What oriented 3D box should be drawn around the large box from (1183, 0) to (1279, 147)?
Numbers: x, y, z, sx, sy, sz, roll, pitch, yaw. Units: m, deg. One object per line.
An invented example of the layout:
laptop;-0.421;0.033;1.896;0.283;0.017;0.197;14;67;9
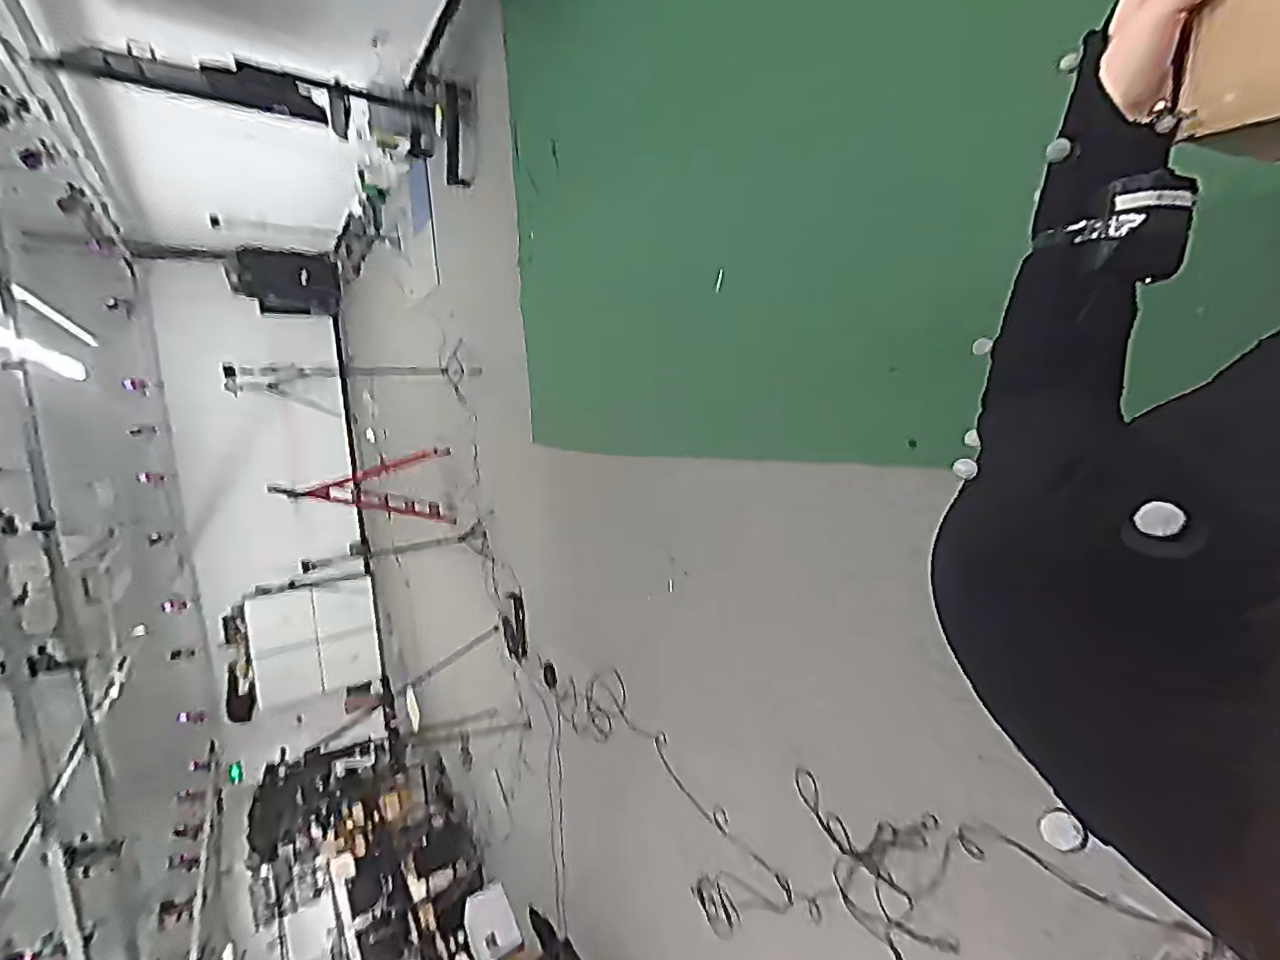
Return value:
large box;0.600;-0.400;0.258;0.408;0.320;0.320;17;118;55
